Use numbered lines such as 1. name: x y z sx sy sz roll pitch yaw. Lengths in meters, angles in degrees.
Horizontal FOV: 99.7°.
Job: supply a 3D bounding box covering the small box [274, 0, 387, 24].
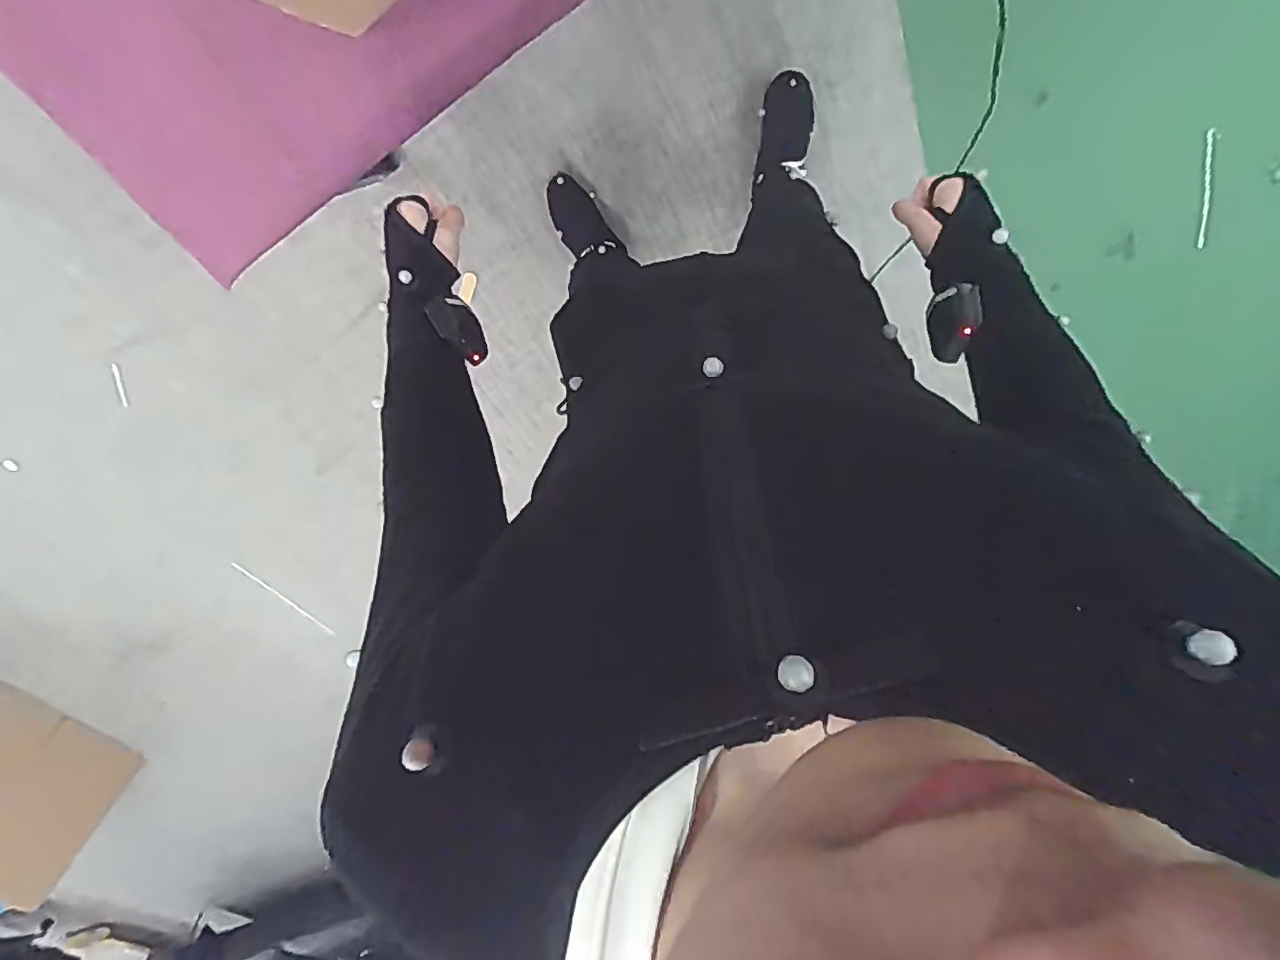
1. small box: -0.279 -0.540 0.462 0.179 0.176 0.168 -29 121 15
